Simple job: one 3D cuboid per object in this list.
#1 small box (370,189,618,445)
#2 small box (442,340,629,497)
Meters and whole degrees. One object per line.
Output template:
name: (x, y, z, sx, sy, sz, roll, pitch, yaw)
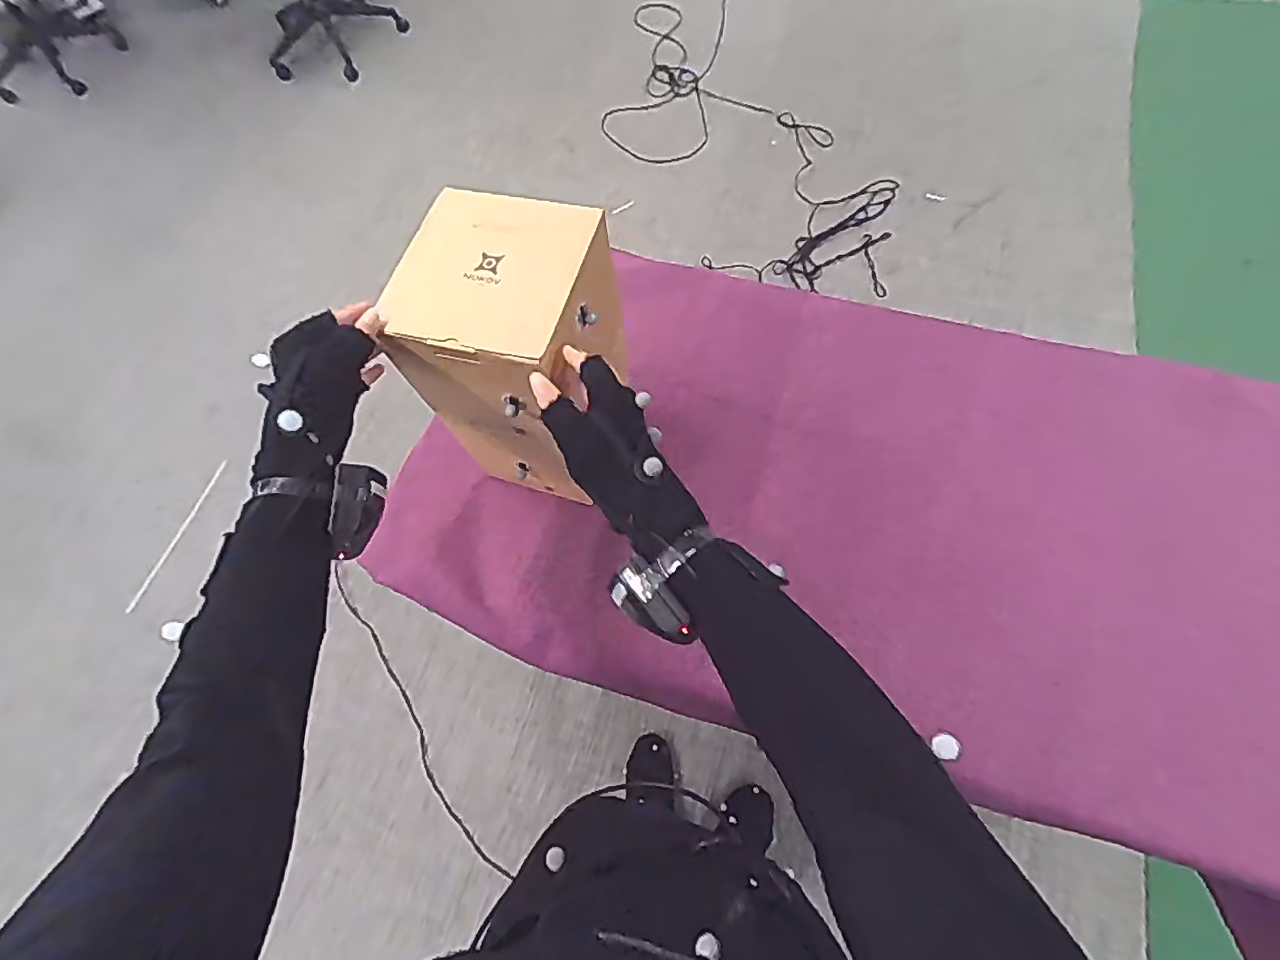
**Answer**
small box: (-0.127, -0.157, 0.553, 0.168, 0.176, 0.179, 13, 68, 10)
small box: (-0.120, -0.097, 0.706, 0.168, 0.176, 0.179, 15, 69, 11)
